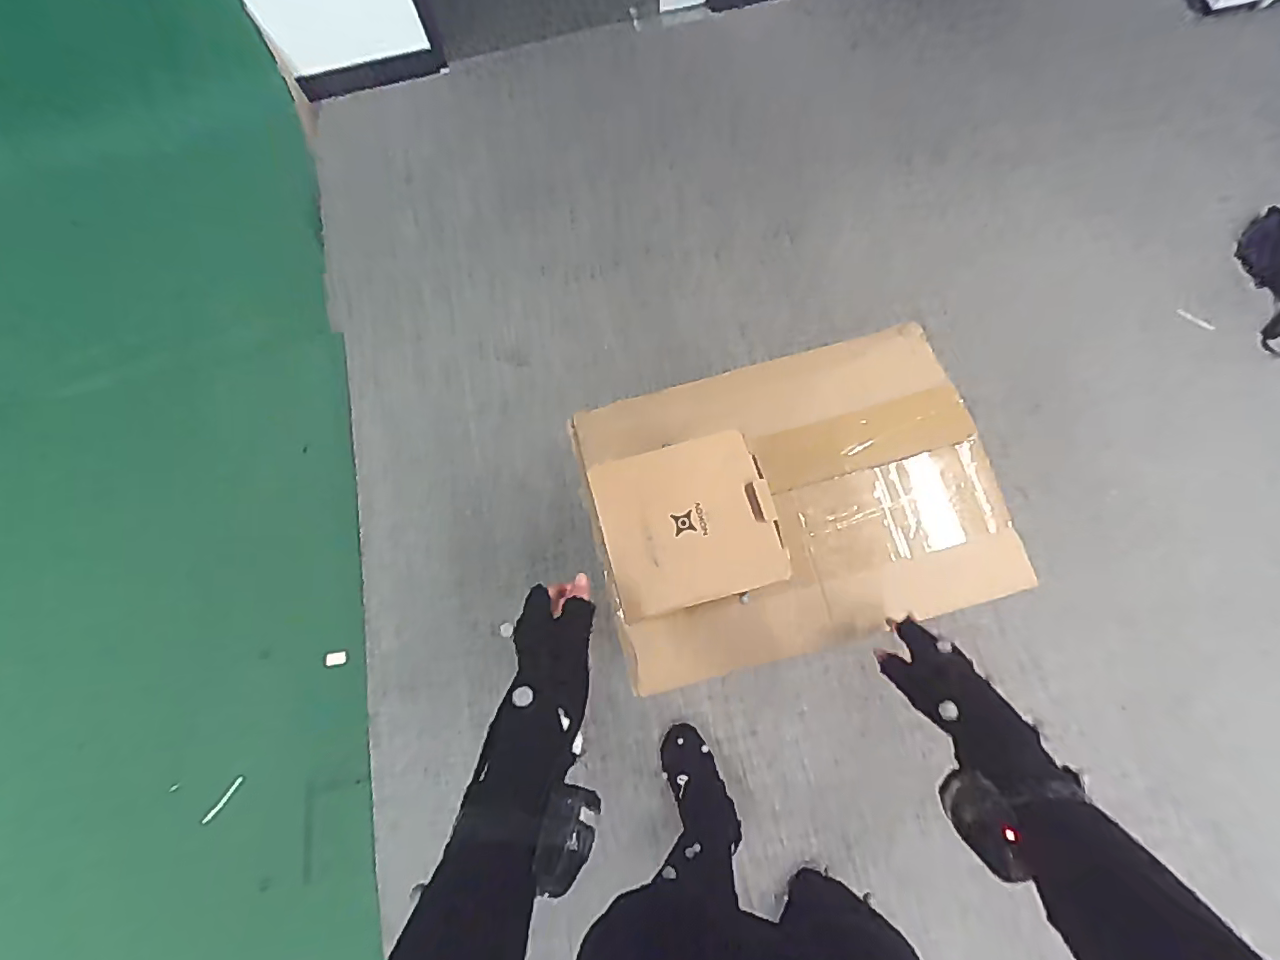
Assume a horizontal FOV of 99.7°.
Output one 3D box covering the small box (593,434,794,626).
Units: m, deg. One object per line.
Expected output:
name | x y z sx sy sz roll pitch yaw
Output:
small box | 0.055 0.065 0.635 0.179 0.176 0.168 -16 76 -1
